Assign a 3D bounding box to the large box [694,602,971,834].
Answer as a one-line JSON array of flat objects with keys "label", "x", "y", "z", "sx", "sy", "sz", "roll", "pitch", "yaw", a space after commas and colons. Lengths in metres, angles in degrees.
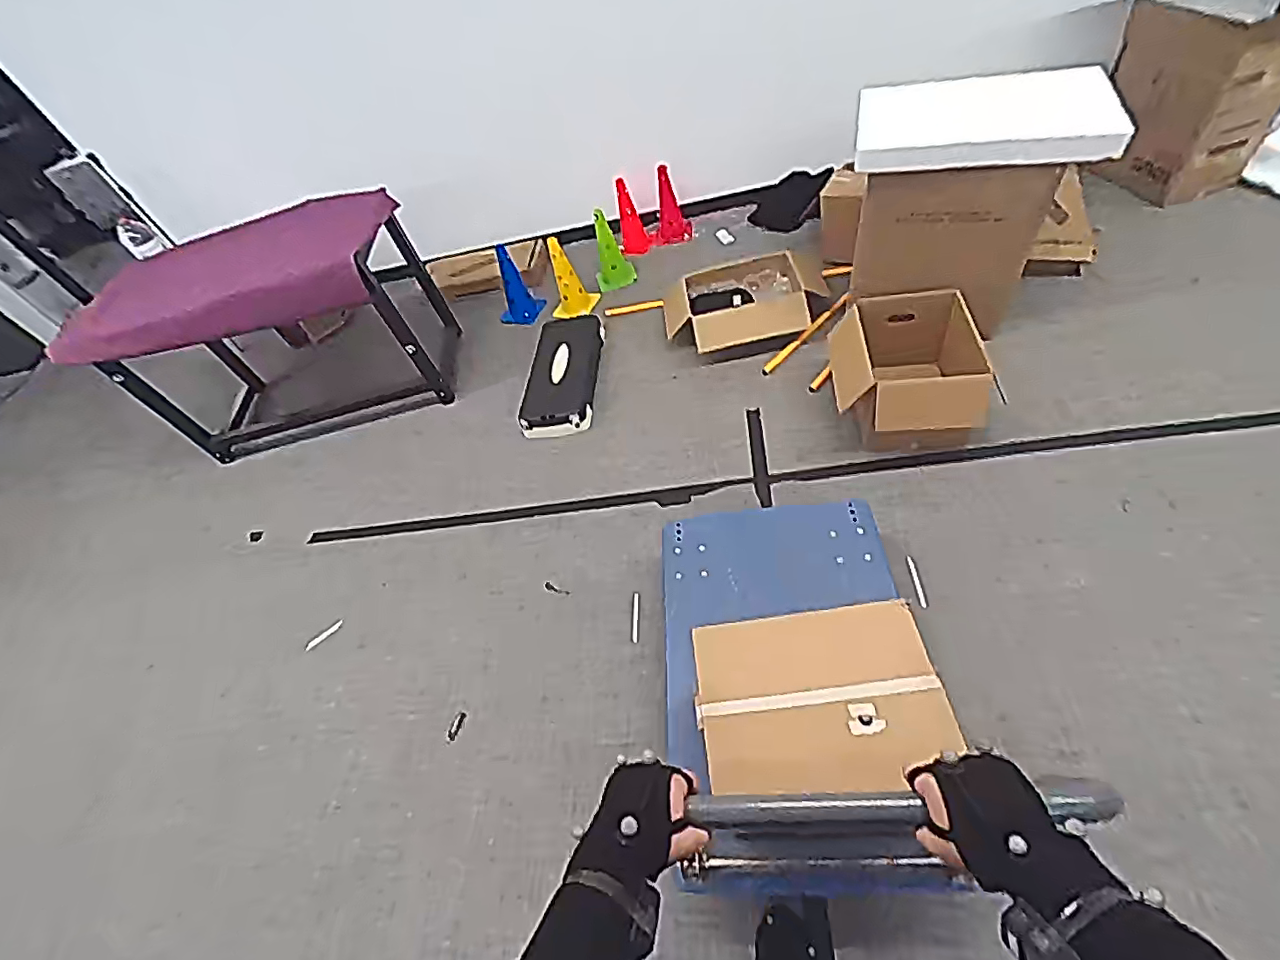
[{"label": "large box", "x": 0.336, "y": 0.474, "z": 1.058, "sx": 0.408, "sy": 0.320, "sz": 0.320, "roll": -10, "pitch": 51, "yaw": 7}]
